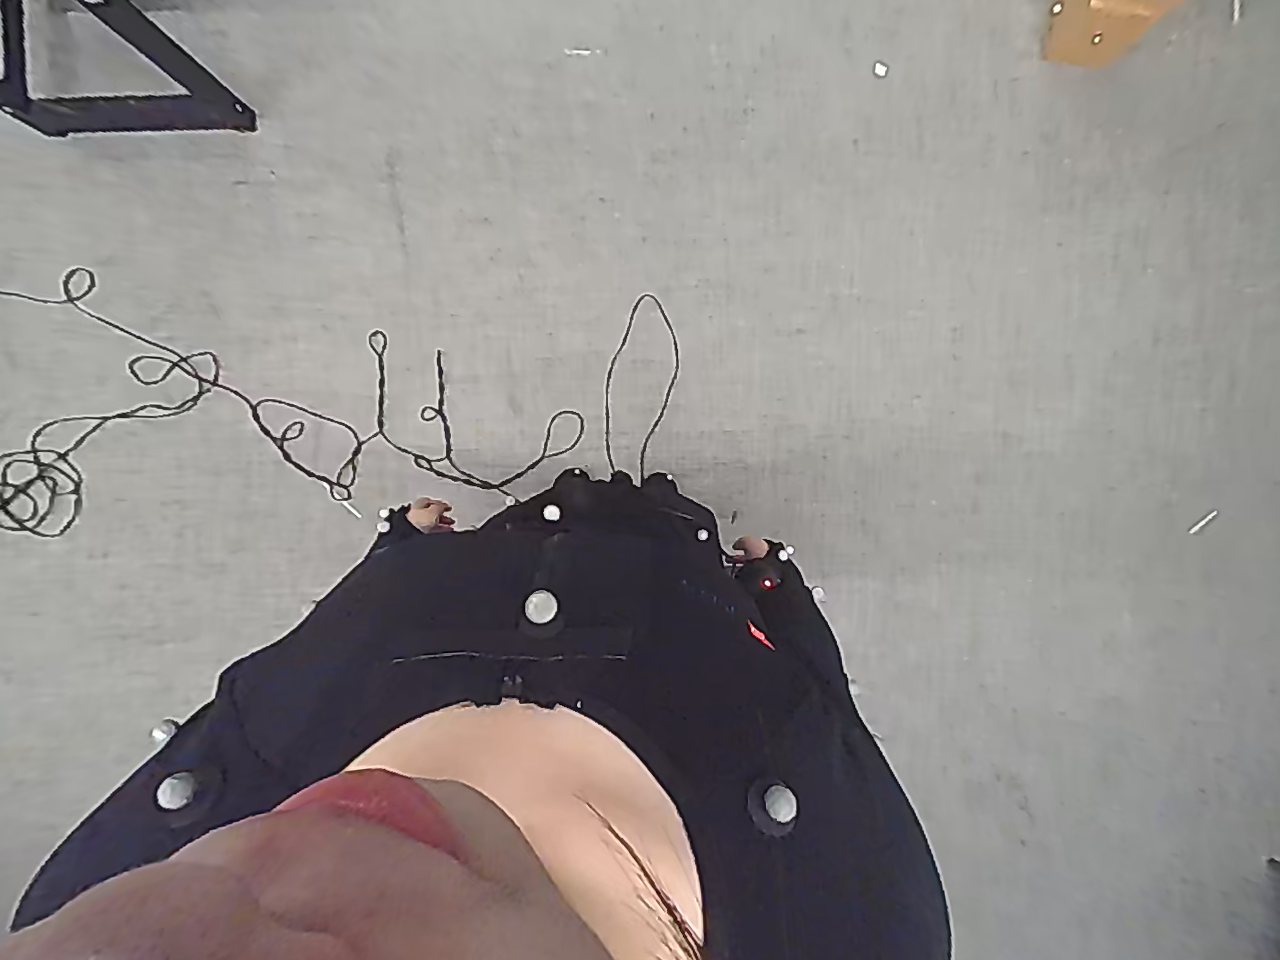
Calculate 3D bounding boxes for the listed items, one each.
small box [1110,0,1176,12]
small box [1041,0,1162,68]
[{"bbox_3d":[1.188,-1.206,1.209,0.179,0.176,0.168,14,92,0],"label":"small box"},{"bbox_3d":[1.175,-1.194,1.372,0.179,0.176,0.168,9,92,0],"label":"small box"}]
